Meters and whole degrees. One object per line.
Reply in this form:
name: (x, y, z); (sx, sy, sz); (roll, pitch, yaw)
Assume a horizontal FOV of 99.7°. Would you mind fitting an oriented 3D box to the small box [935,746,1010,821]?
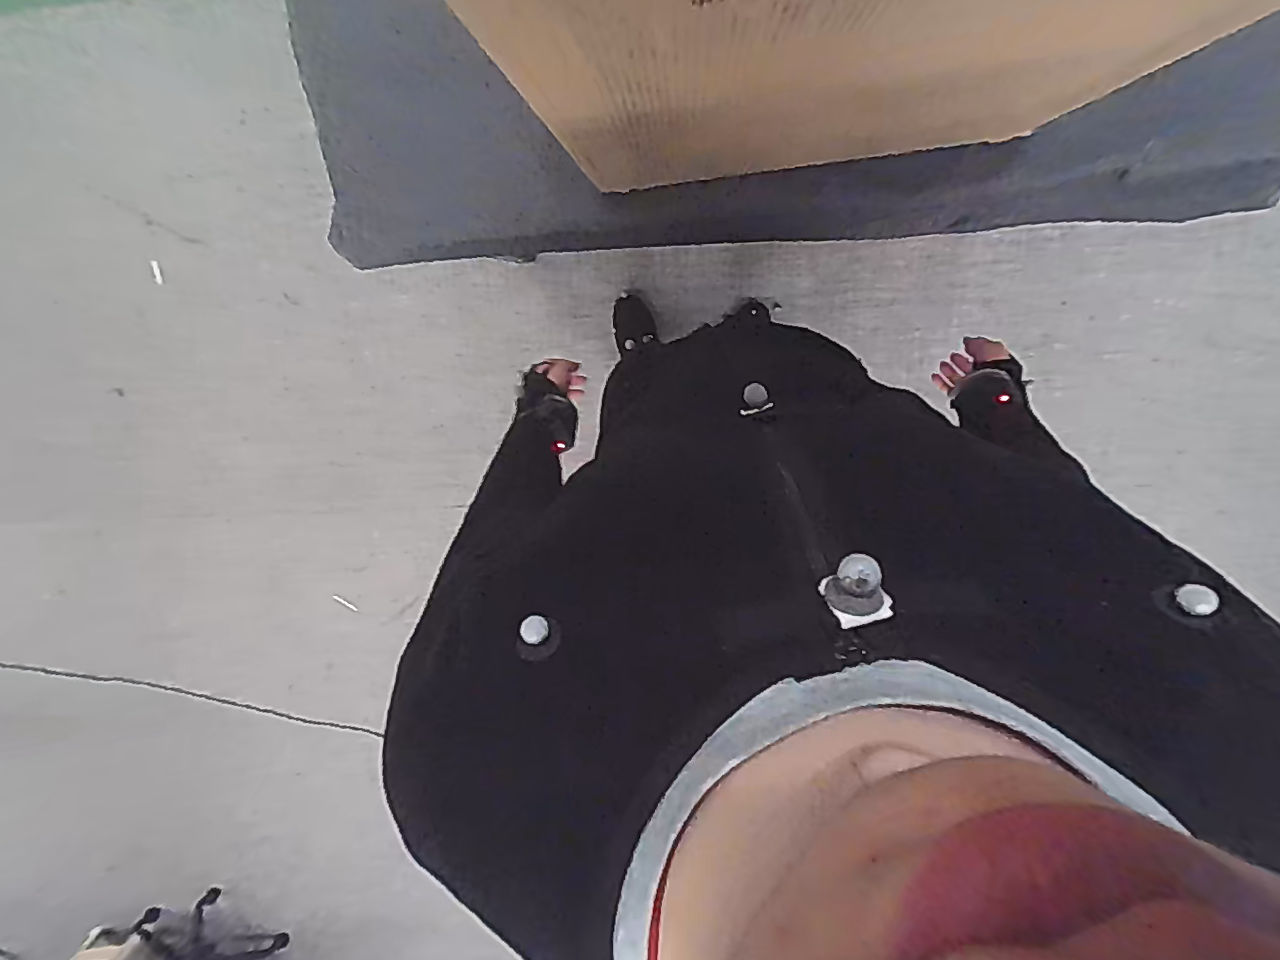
small box: (1.111, 1.018, 1.808); (0.168, 0.176, 0.179); (-14, 109, 11)
